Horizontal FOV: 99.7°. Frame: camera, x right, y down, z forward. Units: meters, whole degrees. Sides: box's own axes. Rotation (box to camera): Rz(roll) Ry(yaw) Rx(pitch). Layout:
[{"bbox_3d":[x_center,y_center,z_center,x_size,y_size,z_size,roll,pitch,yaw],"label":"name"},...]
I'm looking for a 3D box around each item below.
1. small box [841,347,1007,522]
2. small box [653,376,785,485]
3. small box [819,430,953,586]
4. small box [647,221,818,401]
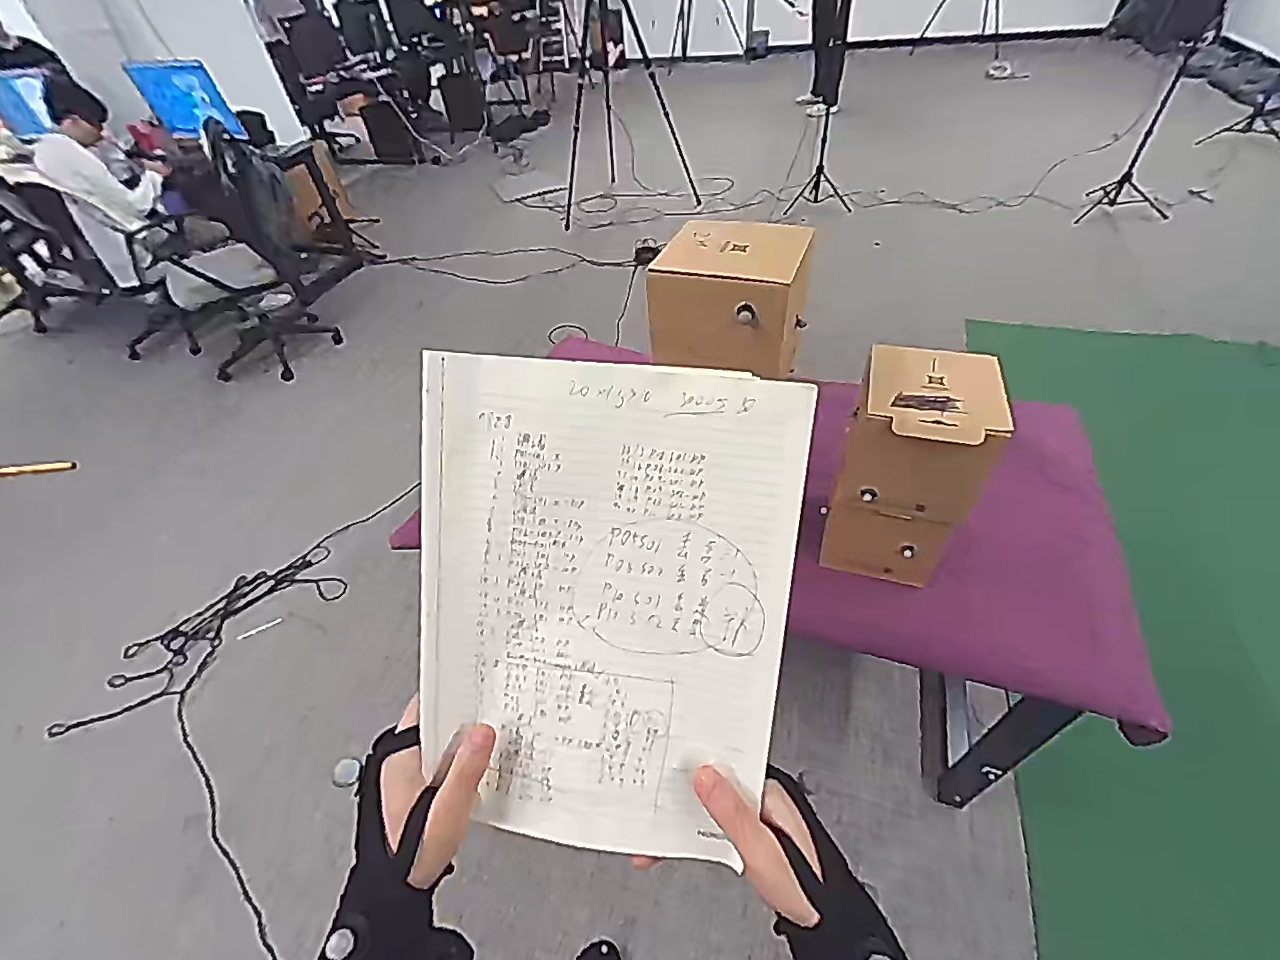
[{"bbox_3d":[0.391,-0.065,0.771,0.168,0.176,0.179,12,47,16],"label":"small box"},{"bbox_3d":[0.131,-0.115,0.849,0.168,0.176,0.179,12,47,17],"label":"small box"},{"bbox_3d":[0.400,0.047,0.891,0.168,0.176,0.179,13,47,17],"label":"small box"},{"bbox_3d":[0.124,-0.225,0.726,0.179,0.176,0.168,13,47,19],"label":"small box"}]
